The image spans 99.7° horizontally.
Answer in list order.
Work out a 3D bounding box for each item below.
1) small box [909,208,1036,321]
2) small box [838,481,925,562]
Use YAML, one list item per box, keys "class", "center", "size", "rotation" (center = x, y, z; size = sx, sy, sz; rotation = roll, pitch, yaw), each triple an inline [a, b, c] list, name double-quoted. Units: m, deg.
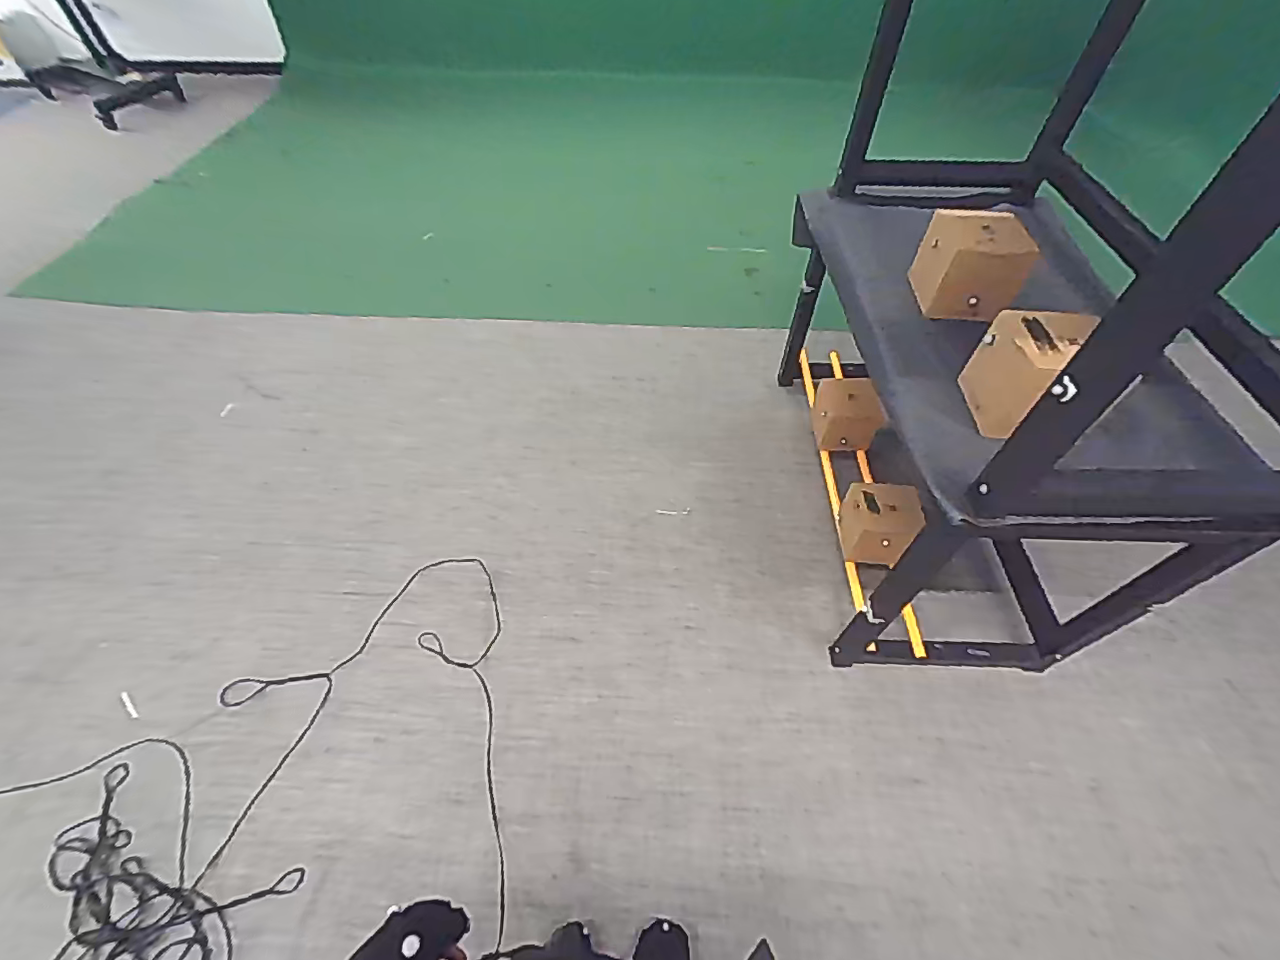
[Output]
- class: "small box"
  center: [0.735, -0.486, 1.222]
  size: [0.168, 0.176, 0.179]
  rotation: [4, 52, 3]
- class: "small box"
  center: [0.675, 0.121, 1.538]
  size: [0.179, 0.176, 0.168]
  rotation: [4, 52, 3]
